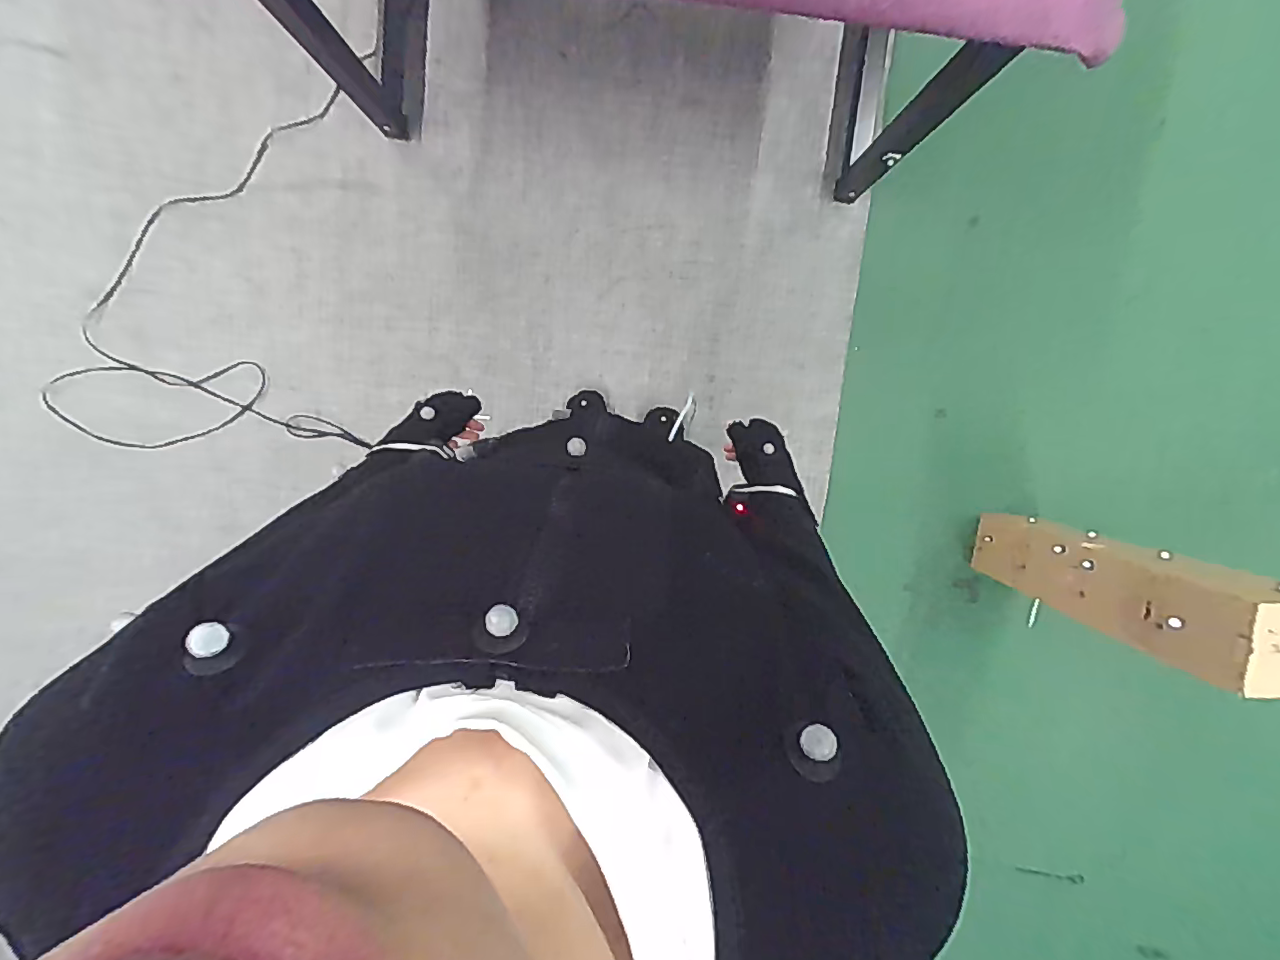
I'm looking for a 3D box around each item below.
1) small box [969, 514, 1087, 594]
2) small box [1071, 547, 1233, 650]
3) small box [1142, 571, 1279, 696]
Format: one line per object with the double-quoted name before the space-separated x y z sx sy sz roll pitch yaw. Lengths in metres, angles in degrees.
"small box" 1.032 0.192 1.450 0.179 0.176 0.168 7 98 -2
"small box" 1.052 0.242 1.125 0.179 0.176 0.168 1 99 -2
"small box" 1.066 0.265 0.962 0.179 0.176 0.168 0 98 -1
